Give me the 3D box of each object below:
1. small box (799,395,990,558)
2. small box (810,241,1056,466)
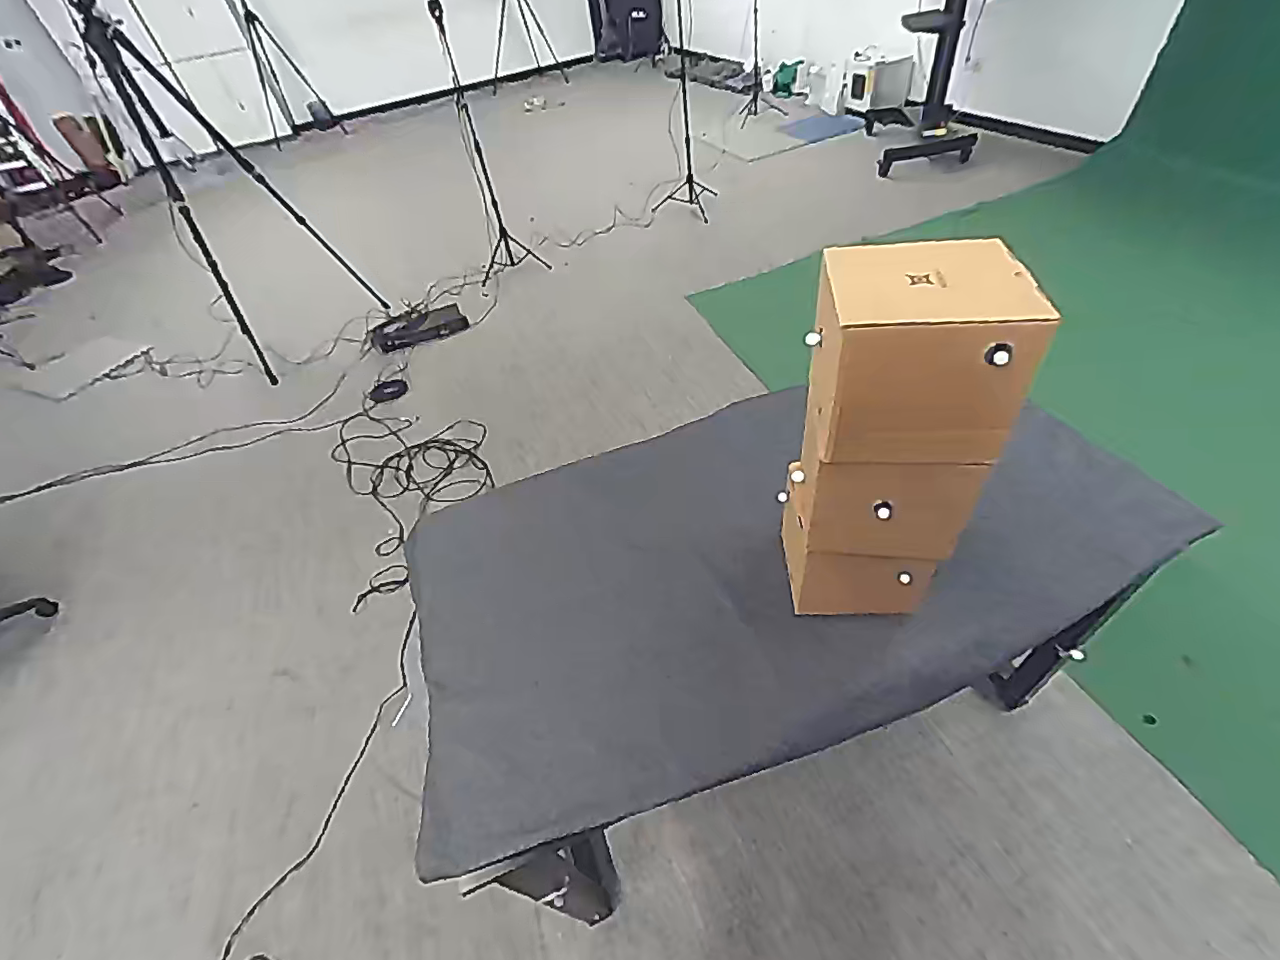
[{"bbox_3d":[0.299,-0.017,0.679,0.179,0.176,0.168,2,46,13],"label":"small box"},{"bbox_3d":[0.275,-0.128,0.563,0.179,0.176,0.168,1,46,10],"label":"small box"}]
